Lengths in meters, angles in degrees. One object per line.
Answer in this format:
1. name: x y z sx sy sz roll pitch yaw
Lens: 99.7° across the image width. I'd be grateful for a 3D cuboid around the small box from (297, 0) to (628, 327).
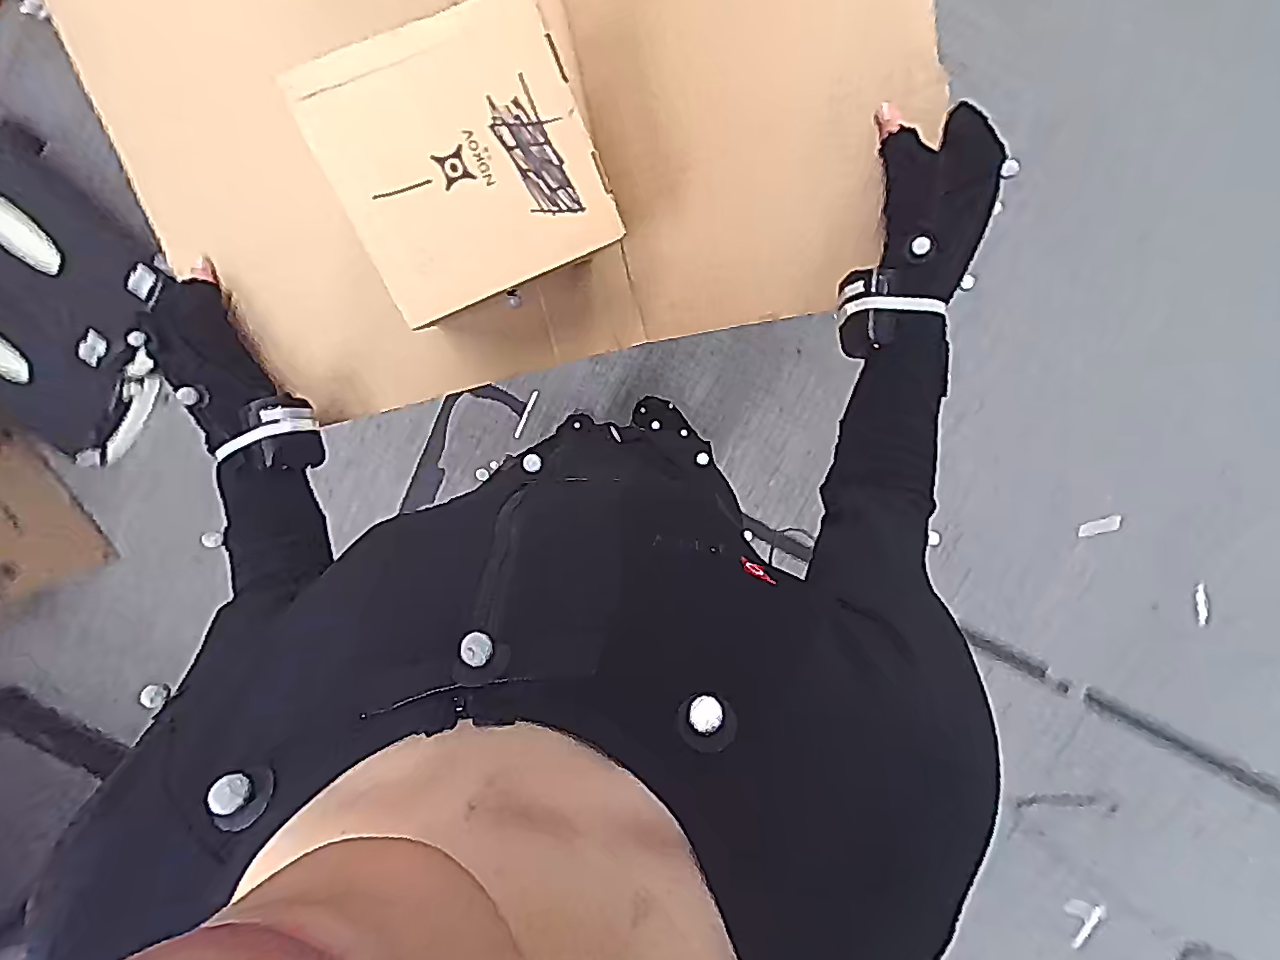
1. small box: -0.133 -0.242 0.453 0.179 0.176 0.168 -25 111 -5
